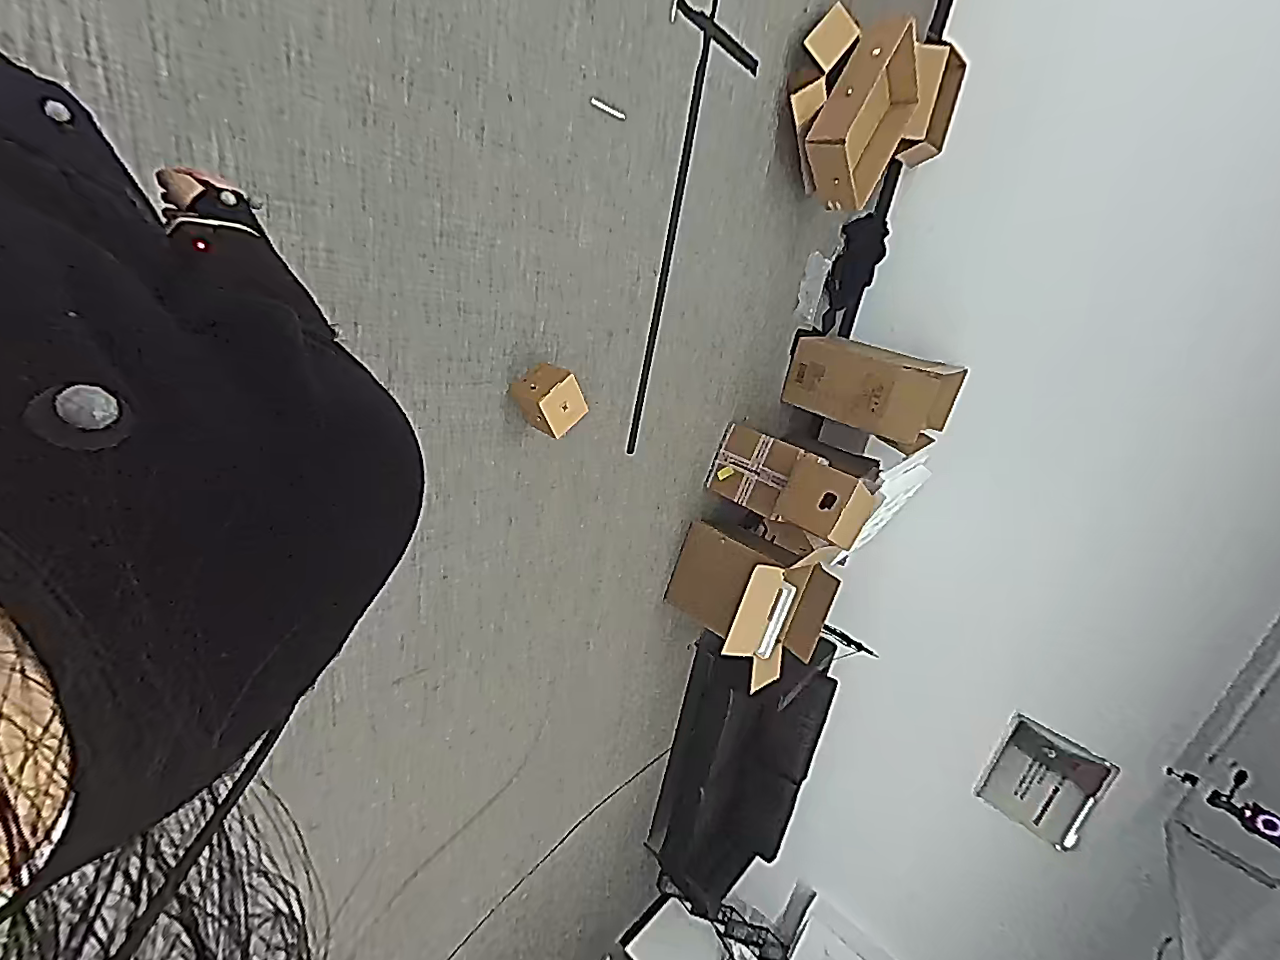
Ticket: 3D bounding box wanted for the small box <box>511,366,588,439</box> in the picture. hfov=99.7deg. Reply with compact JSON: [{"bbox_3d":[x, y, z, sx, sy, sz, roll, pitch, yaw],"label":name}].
[{"bbox_3d":[-0.317,-0.277,1.880,0.168,0.176,0.179,-46,142,-21],"label":"small box"}]
